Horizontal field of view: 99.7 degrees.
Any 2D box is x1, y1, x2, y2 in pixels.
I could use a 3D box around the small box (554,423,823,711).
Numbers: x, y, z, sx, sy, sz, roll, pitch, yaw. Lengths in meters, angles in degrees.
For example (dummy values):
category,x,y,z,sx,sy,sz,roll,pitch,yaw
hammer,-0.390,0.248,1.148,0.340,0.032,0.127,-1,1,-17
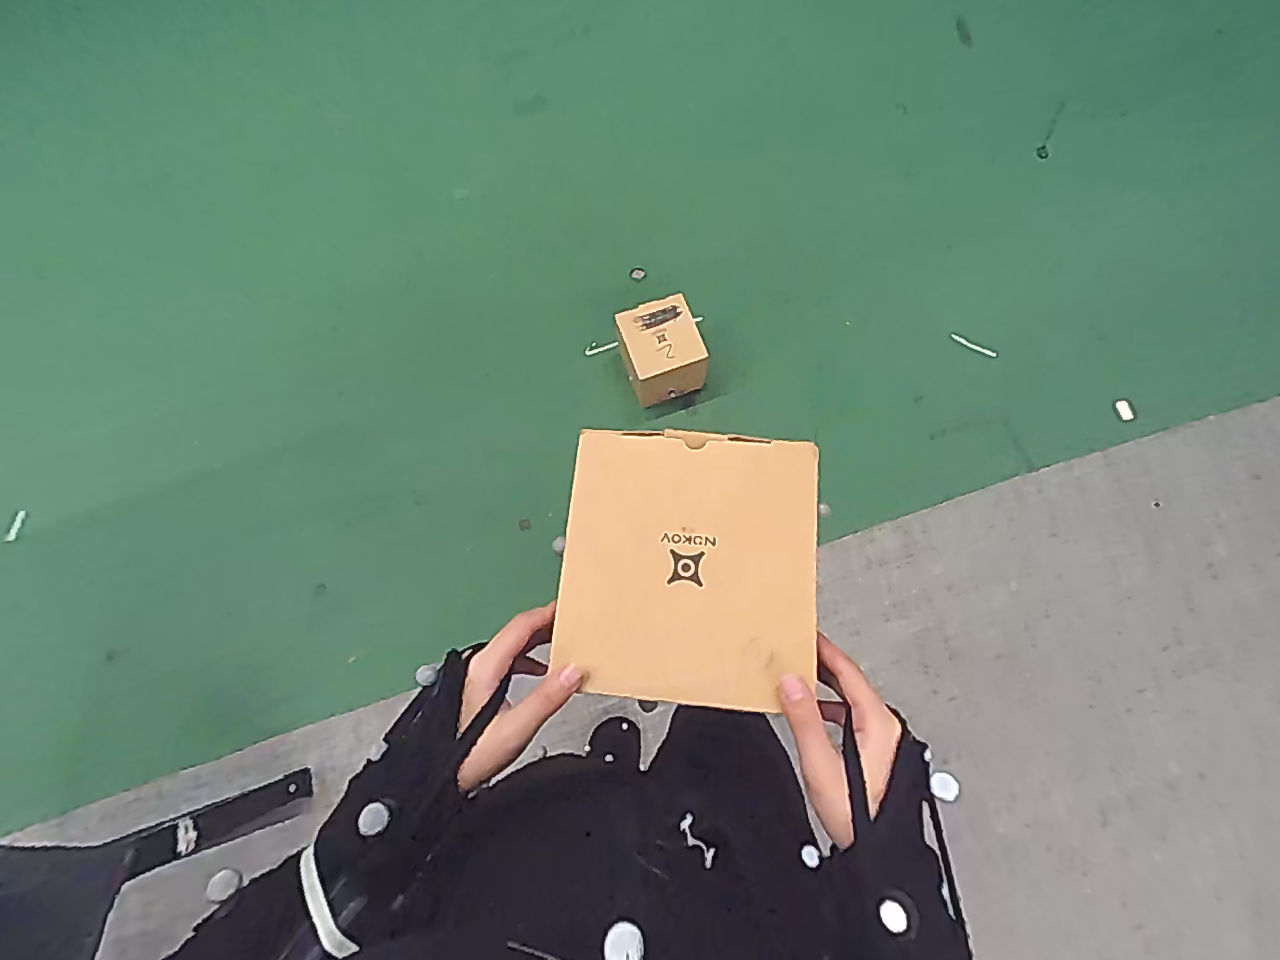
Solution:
category,x,y,z,sx,sy,sz,roll,pitch,yaw
small box,0.041,0.070,0.426,0.168,0.176,0.179,4,73,5
